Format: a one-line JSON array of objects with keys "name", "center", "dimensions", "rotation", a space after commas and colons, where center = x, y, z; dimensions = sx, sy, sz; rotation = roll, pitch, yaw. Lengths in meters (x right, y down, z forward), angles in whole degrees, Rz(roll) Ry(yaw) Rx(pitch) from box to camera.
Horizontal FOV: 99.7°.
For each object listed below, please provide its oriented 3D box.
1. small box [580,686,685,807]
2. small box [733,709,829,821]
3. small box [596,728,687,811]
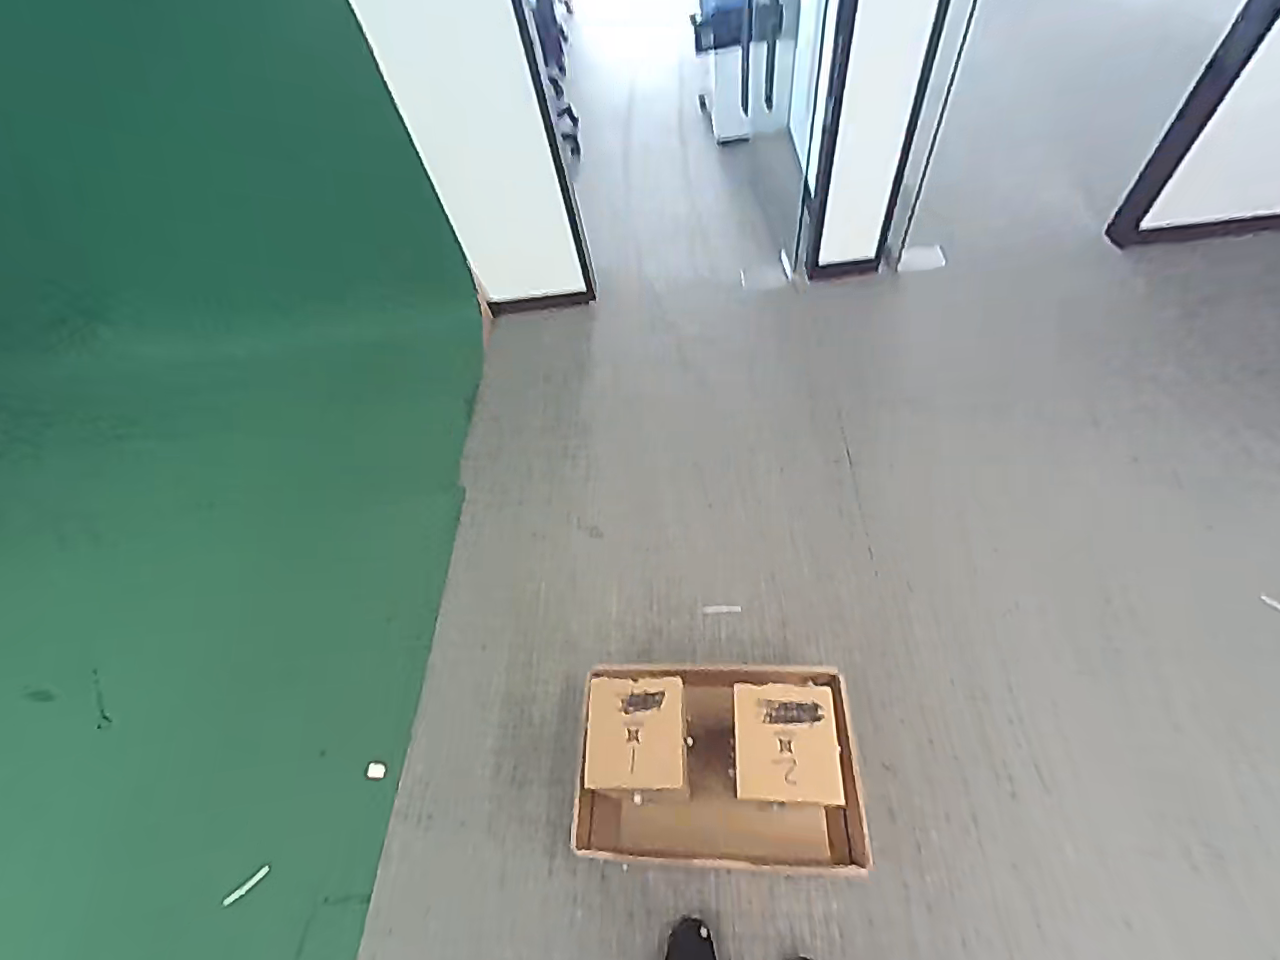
[{"name": "small box", "center": [-0.006, 0.486, 0.983], "dimensions": [0.168, 0.176, 0.179], "rotation": [-2, 56, 7]}, {"name": "small box", "center": [0.272, 0.572, 1.082], "dimensions": [0.168, 0.176, 0.179], "rotation": [-3, 55, 9]}, {"name": "small box", "center": [0.010, 0.578, 1.118], "dimensions": [0.168, 0.176, 0.179], "rotation": [-3, 55, 7]}]
